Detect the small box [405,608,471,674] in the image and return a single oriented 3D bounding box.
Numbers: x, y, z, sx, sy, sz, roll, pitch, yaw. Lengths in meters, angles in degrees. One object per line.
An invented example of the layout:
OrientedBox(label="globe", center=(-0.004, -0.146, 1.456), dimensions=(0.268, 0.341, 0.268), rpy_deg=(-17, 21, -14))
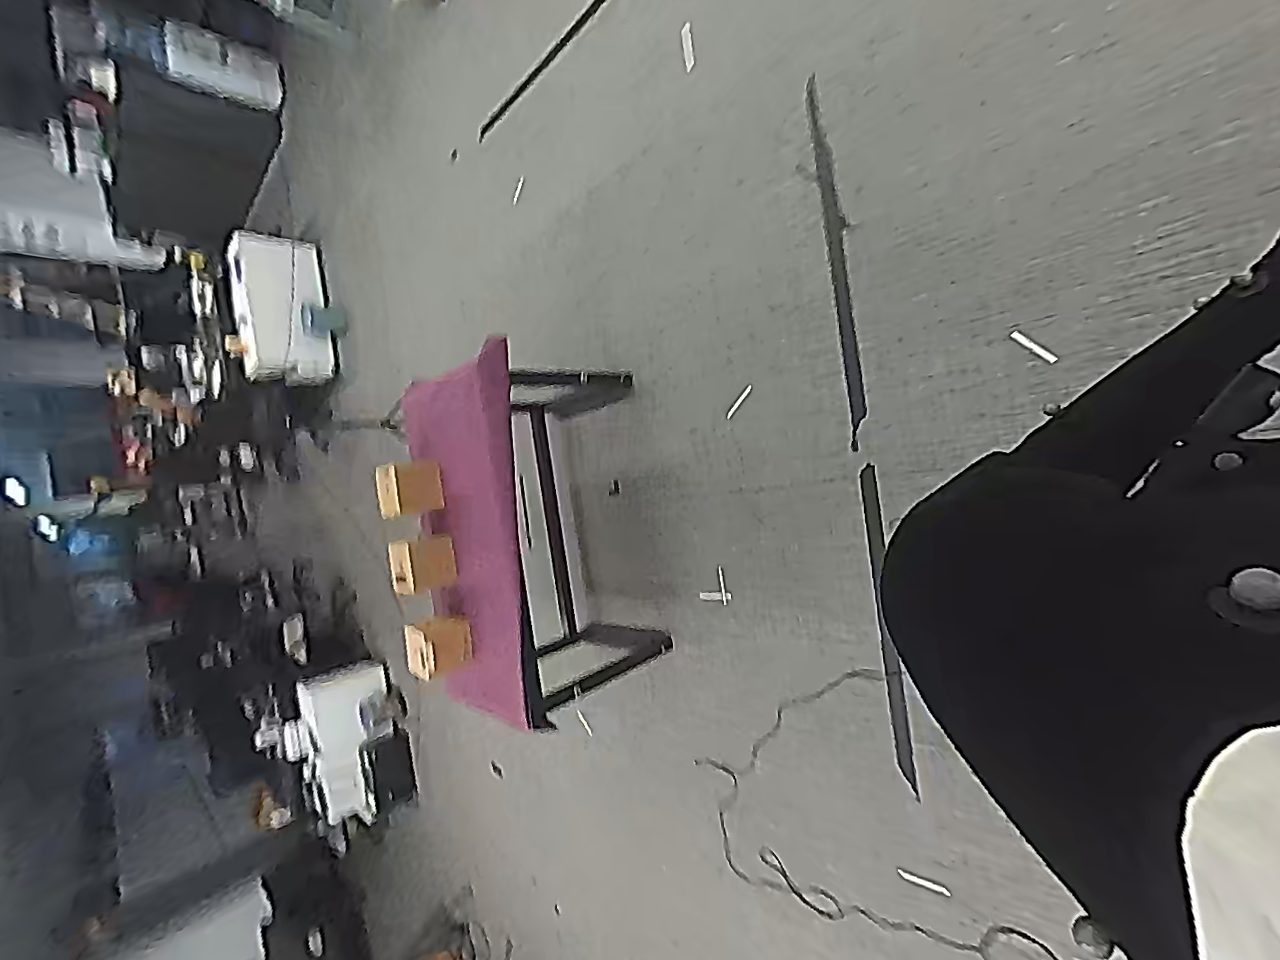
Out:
OrientedBox(label="small box", center=(-0.732, 0.581, 1.977), dimensions=(0.179, 0.176, 0.168), rpy_deg=(1, 97, 44))
